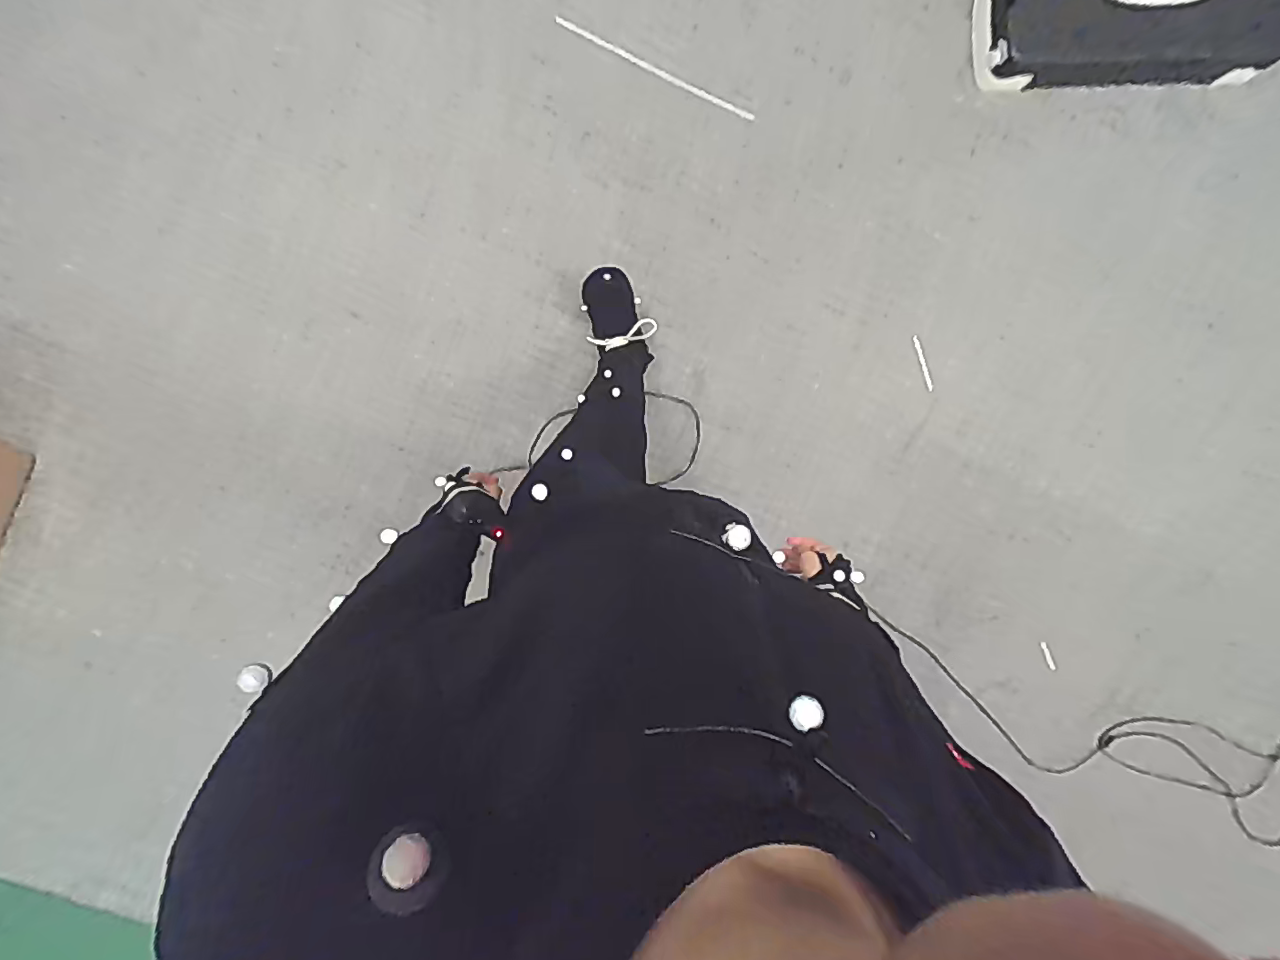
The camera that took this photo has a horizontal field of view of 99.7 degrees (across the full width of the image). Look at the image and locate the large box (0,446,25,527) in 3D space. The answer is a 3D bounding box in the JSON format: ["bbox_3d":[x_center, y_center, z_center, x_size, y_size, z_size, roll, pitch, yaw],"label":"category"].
[{"bbox_3d":[-1.640,0.076,1.115,0.320,0.320,0.408,28,95,-8],"label":"large box"}]
